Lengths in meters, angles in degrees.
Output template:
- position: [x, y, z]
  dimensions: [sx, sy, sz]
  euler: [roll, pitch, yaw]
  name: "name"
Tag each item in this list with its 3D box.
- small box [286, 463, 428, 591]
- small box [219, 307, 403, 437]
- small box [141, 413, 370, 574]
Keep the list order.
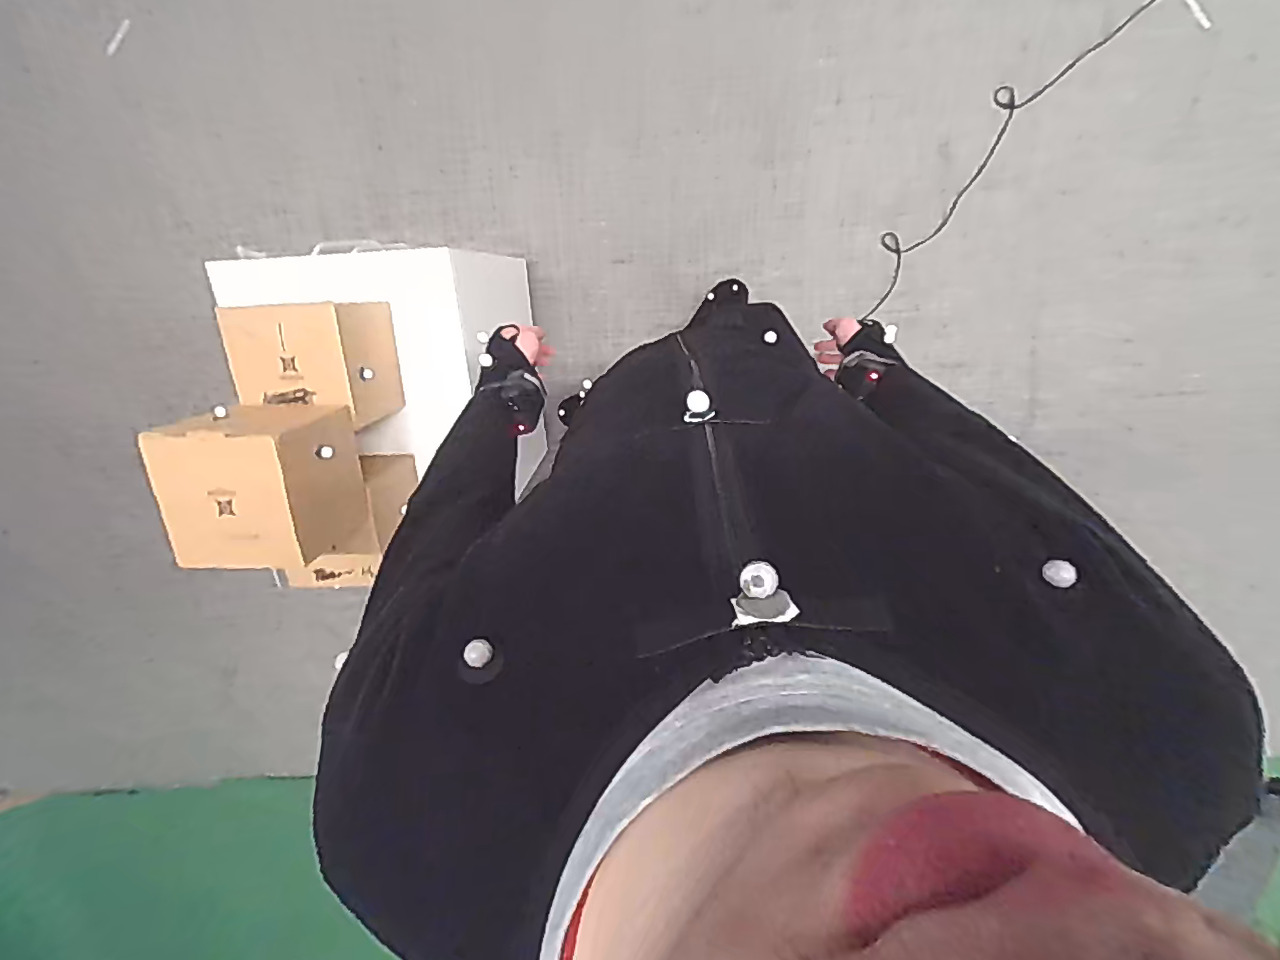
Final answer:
- position: [-0.485, 0.071, 0.925]
  dimensions: [0.168, 0.176, 0.179]
  euler: [-2, 108, 3]
  name: "small box"
- position: [-0.488, -0.172, 0.835]
  dimensions: [0.168, 0.176, 0.179]
  euler: [0, 110, 1]
  name: "small box"
- position: [-0.496, 0.009, 0.729]
  dimensions: [0.168, 0.176, 0.179]
  euler: [0, 111, 3]
  name: "small box"
